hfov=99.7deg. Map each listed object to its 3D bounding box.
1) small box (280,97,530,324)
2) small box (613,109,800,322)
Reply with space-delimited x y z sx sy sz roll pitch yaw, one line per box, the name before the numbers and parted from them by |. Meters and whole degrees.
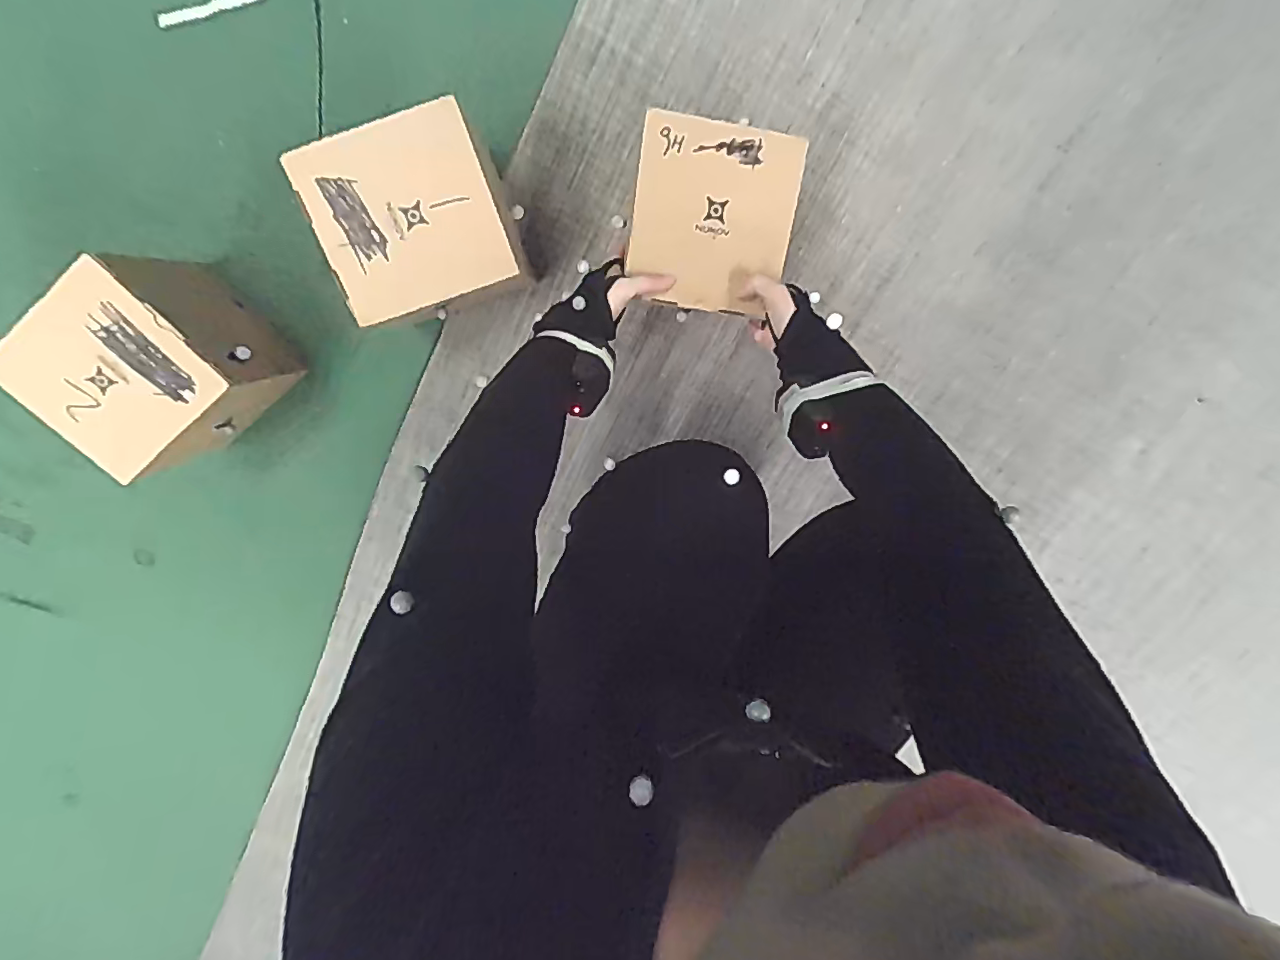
small box | -0.238 -0.279 0.602 0.179 0.176 0.168 -19 108 1
small box | 0.061 -0.288 0.625 0.168 0.176 0.179 7 108 -7
